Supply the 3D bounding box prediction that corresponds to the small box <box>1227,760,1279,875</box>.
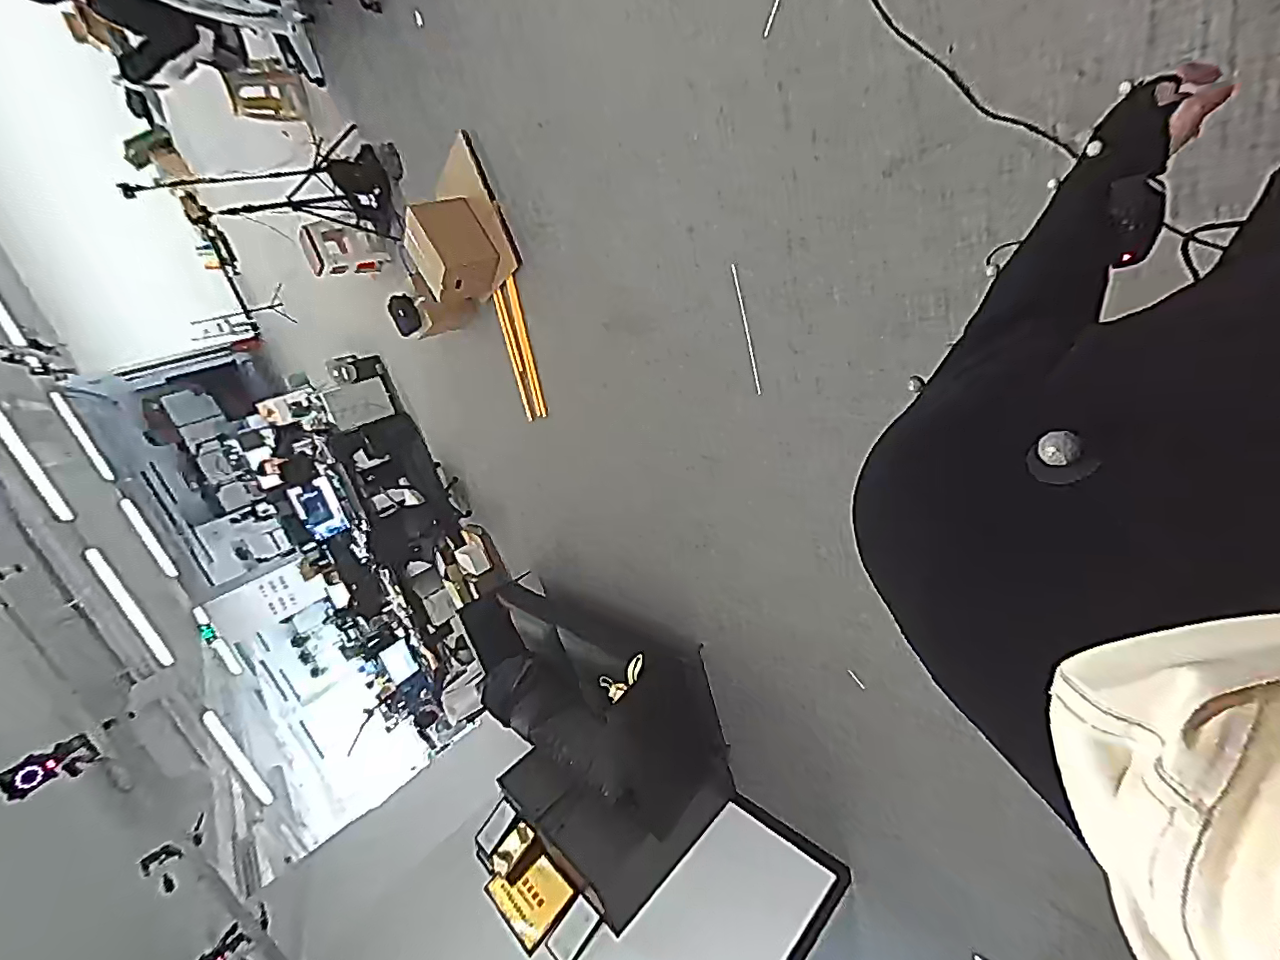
[{"bbox_3d":[1.541,0.819,1.285,0.168,0.176,0.179,13,124,46],"label":"small box"}]
